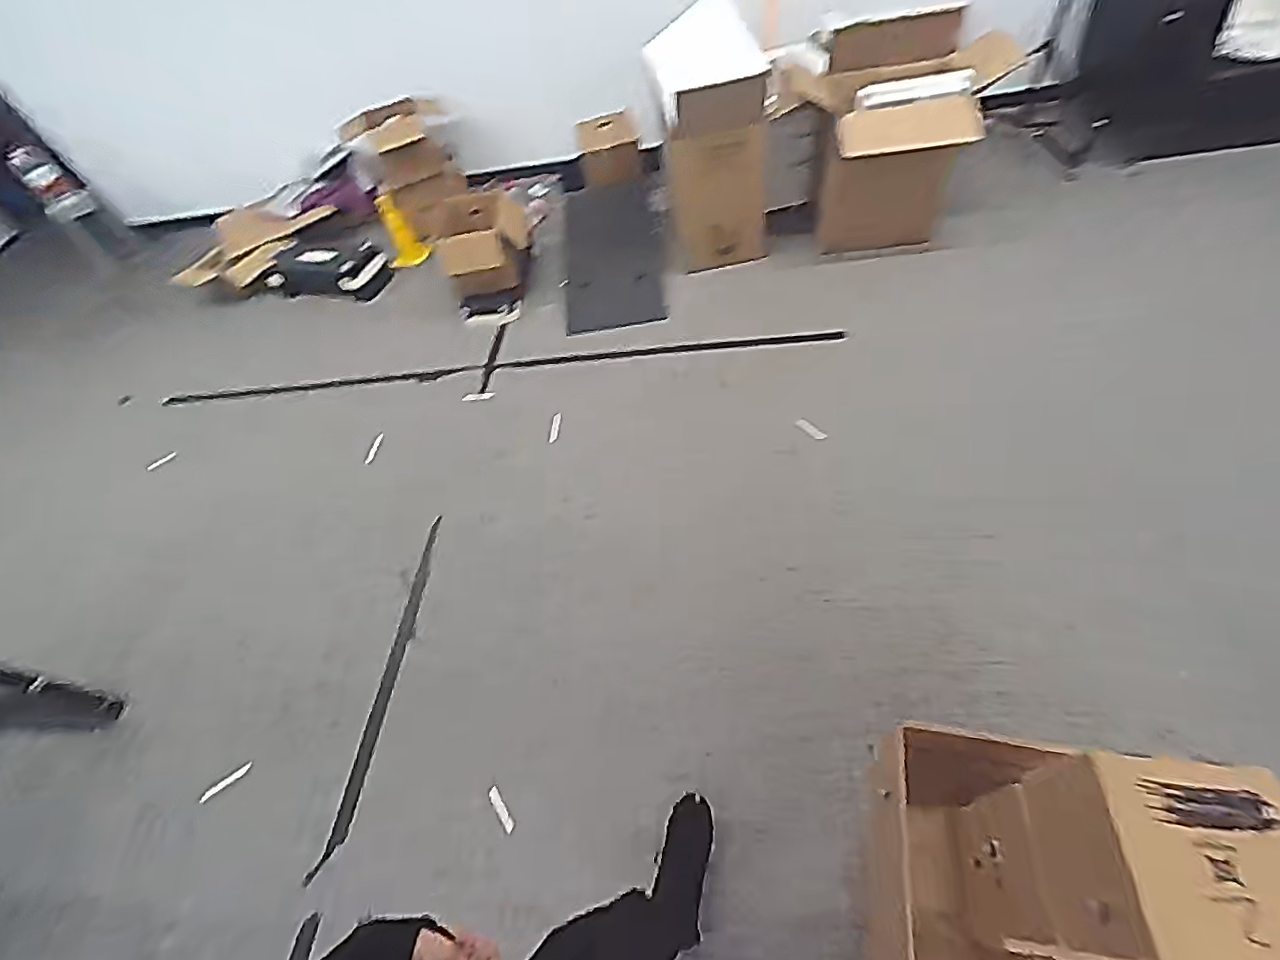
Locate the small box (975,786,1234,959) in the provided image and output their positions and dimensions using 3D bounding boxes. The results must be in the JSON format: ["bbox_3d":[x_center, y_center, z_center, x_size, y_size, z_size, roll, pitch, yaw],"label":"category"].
[{"bbox_3d":[0.573,0.508,0.697,0.179,0.176,0.168,1,53,10],"label":"small box"}]

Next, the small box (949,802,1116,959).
[{"bbox_3d":[0.592,0.612,0.822,0.168,0.176,0.179,3,55,12],"label":"small box"}]
